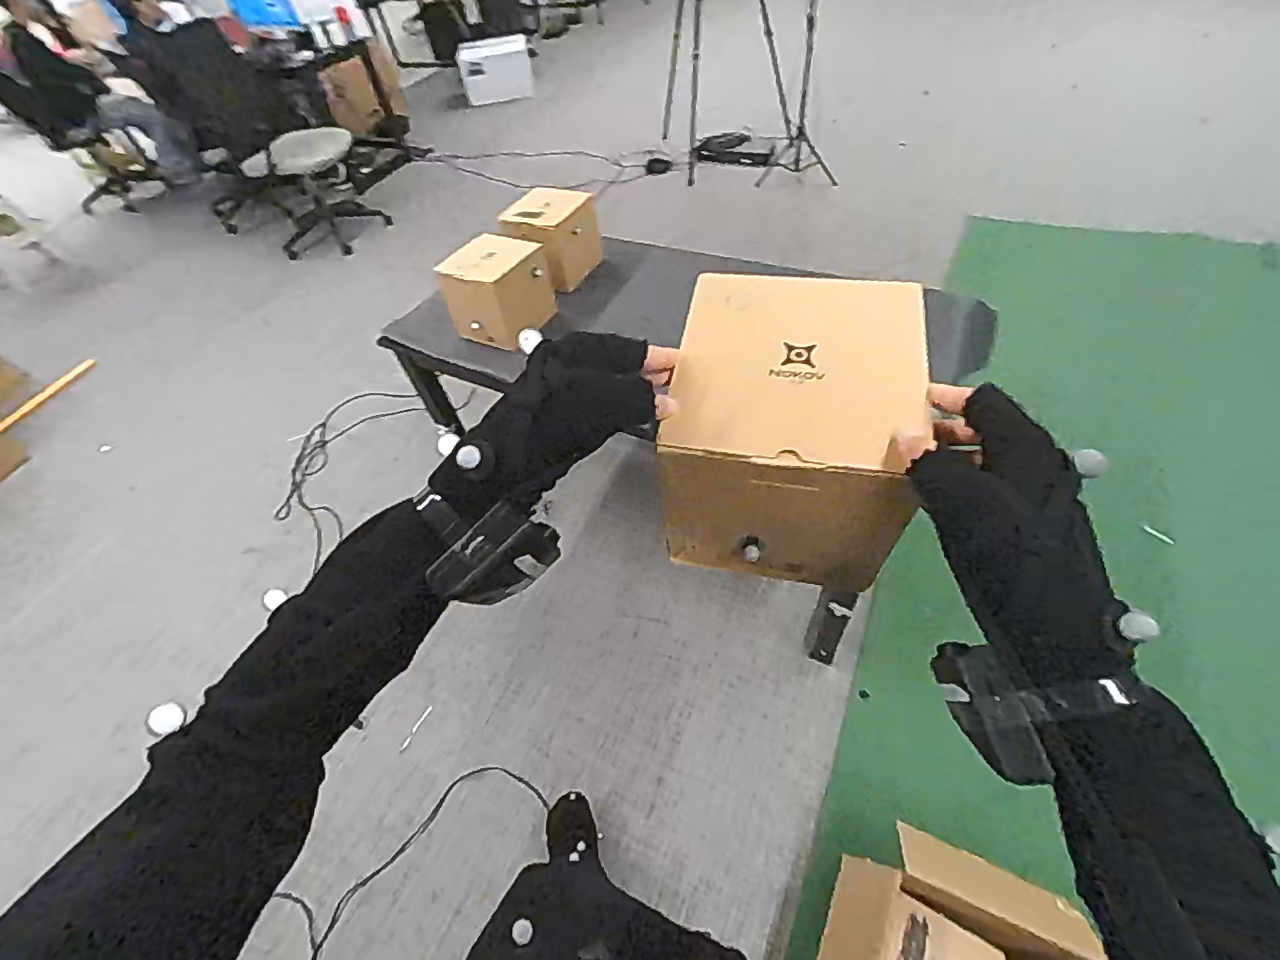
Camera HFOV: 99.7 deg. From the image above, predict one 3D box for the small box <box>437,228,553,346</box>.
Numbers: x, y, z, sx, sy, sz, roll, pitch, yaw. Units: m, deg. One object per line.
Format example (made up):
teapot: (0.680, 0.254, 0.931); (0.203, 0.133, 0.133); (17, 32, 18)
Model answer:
small box: (-0.311, -0.431, 1.206); (0.168, 0.176, 0.179); (21, 56, 22)

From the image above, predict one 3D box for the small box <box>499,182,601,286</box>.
small box: (-0.210, -0.604, 1.332); (0.168, 0.176, 0.179); (19, 56, 21)
